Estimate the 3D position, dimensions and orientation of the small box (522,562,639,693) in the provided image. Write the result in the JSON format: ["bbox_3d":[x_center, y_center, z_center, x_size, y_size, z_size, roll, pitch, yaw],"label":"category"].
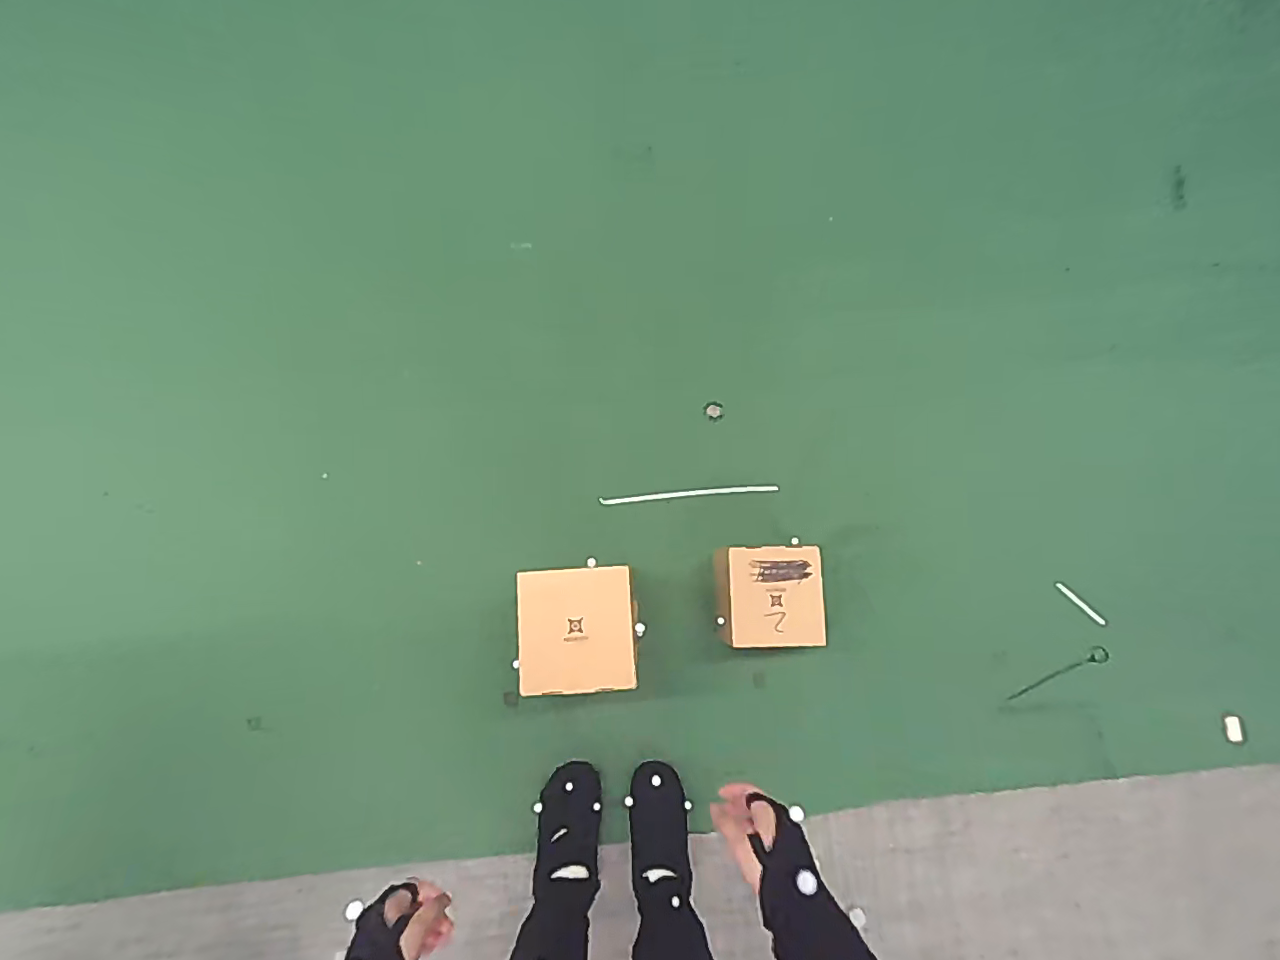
[{"bbox_3d":[-0.090,0.225,0.857,0.168,0.176,0.179,-4,81,-1],"label":"small box"}]
